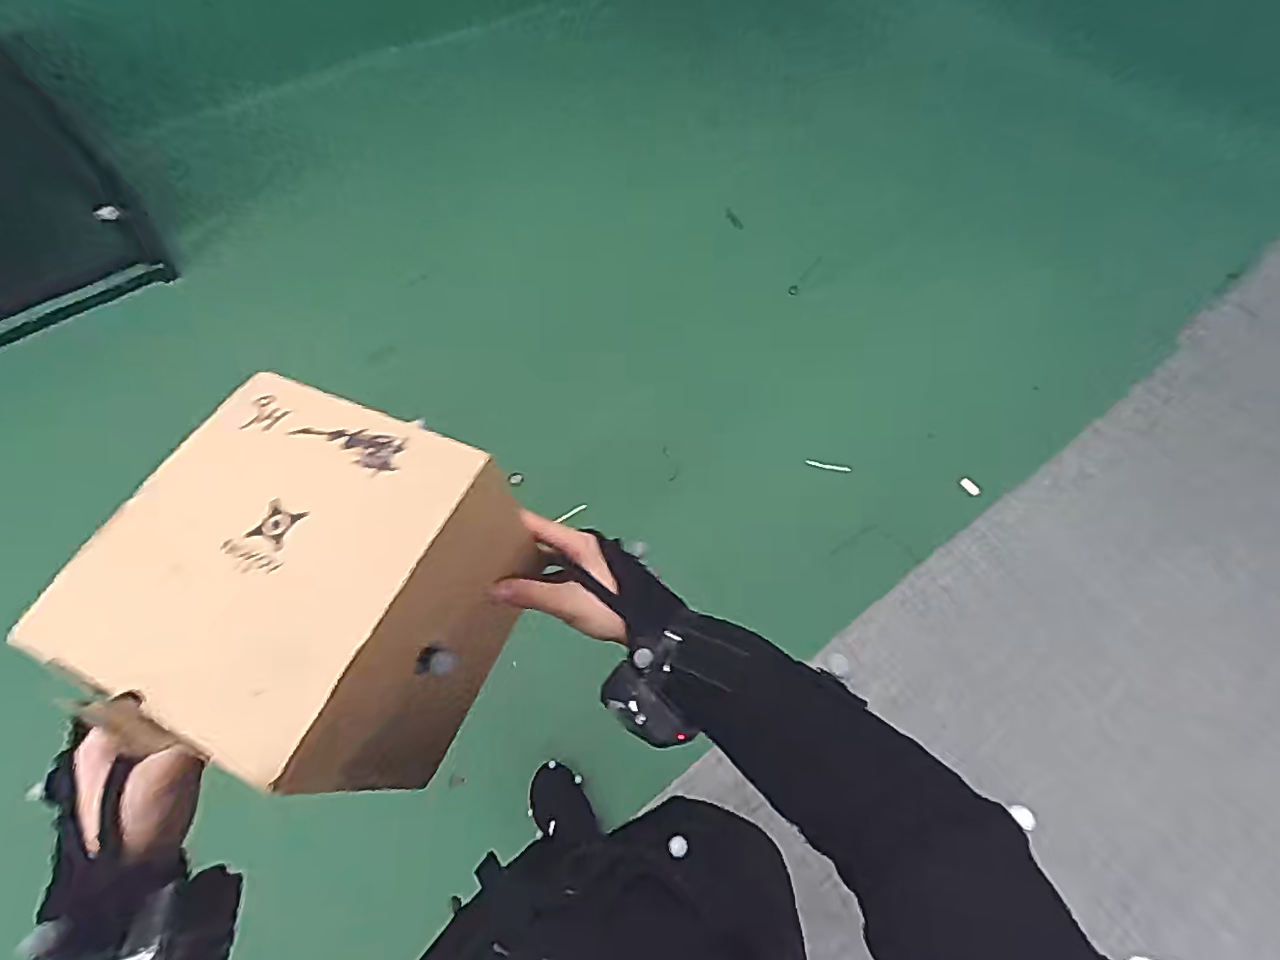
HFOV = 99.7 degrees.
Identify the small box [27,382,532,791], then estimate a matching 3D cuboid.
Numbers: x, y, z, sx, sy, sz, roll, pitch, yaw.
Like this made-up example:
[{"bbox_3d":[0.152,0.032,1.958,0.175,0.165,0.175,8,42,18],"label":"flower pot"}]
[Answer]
[{"bbox_3d":[-0.190,0.073,0.351,0.168,0.176,0.179,20,64,13],"label":"small box"}]
